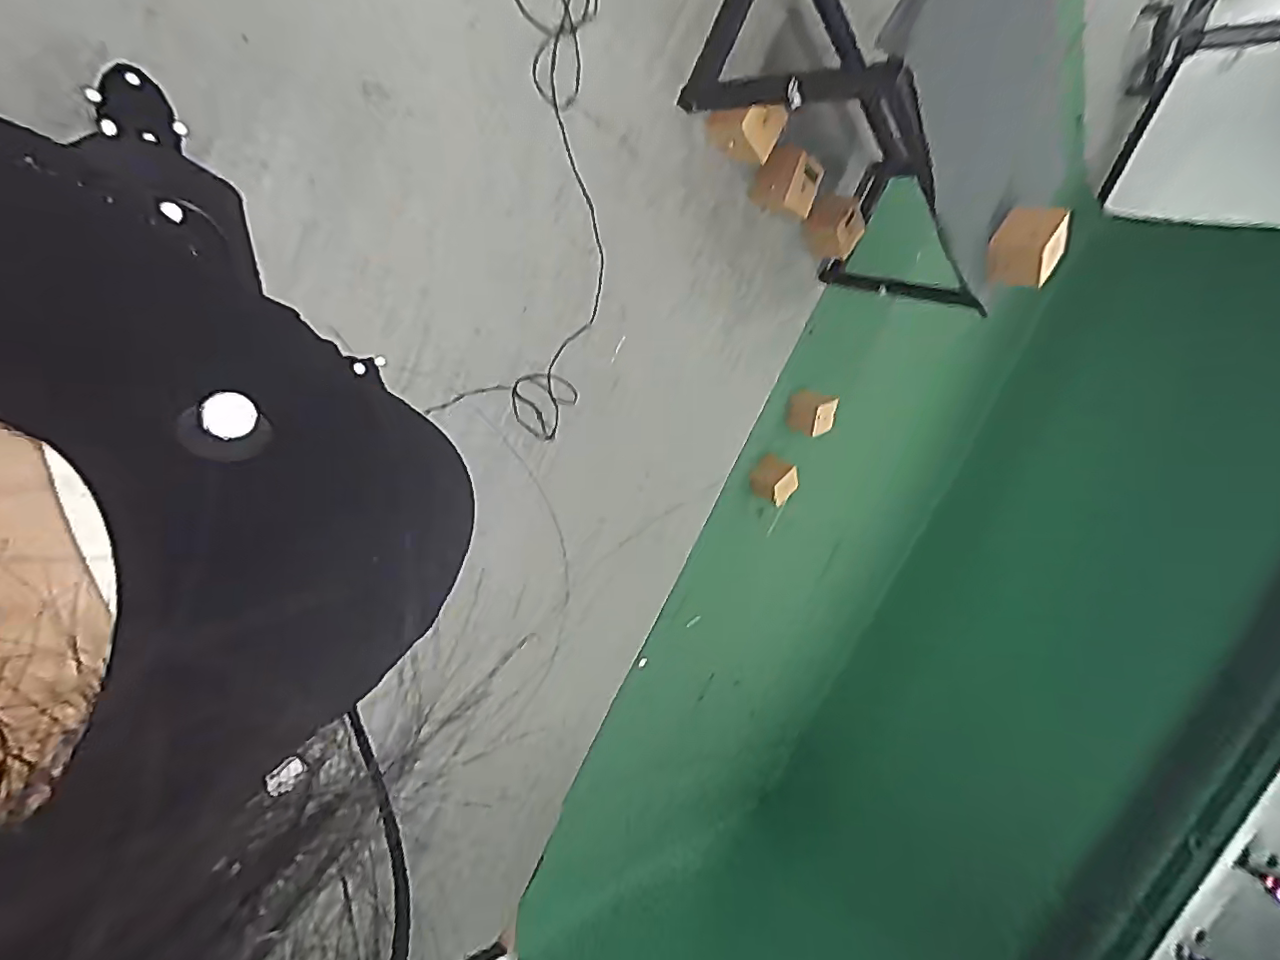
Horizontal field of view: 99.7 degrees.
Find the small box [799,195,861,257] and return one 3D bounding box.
[{"bbox_3d":[0.803,-1.079,2.291,0.168,0.176,0.179,-55,140,-2],"label":"small box"}]

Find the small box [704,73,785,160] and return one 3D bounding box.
[{"bbox_3d":[0.335,-1.183,1.772,0.168,0.176,0.179,24,95,-49],"label":"small box"}]

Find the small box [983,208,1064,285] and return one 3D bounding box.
[{"bbox_3d":[1.285,-0.789,1.824,0.179,0.176,0.168,-52,139,-11],"label":"small box"}]

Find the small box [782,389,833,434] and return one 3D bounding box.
[{"bbox_3d":[0.864,-0.360,2.793,0.179,0.176,0.168,-22,127,-35],"label":"small box"}]

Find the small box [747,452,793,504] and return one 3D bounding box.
[{"bbox_3d":[0.669,-0.015,2.812,0.179,0.176,0.168,-41,138,-20],"label":"small box"}]
